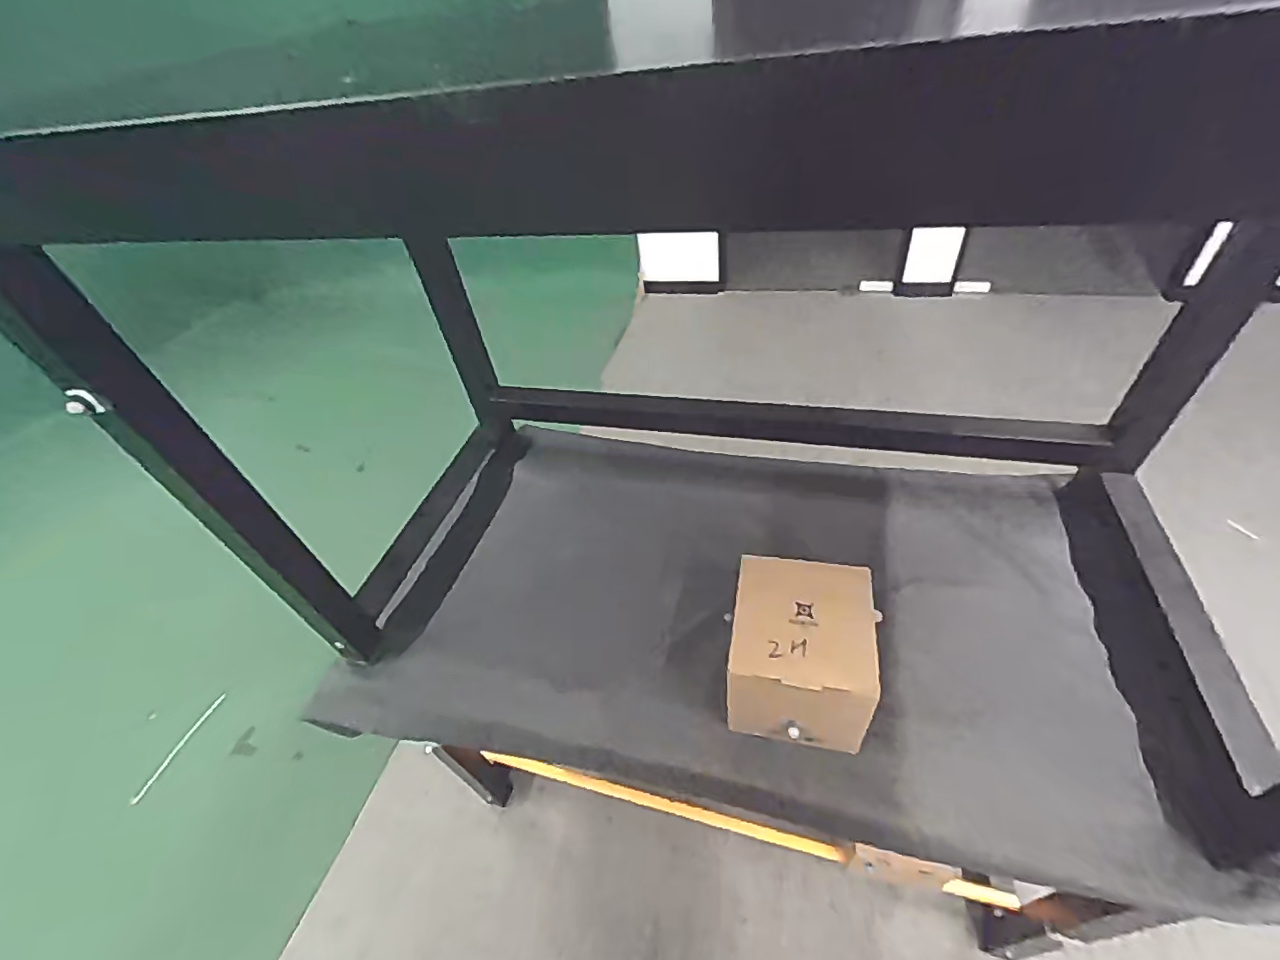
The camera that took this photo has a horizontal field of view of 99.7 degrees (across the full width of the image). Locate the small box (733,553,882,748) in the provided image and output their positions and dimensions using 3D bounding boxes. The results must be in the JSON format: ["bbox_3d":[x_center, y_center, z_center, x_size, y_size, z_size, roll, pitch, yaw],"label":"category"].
[{"bbox_3d":[0.216,0.224,0.720,0.168,0.176,0.179,4,45,15],"label":"small box"}]
